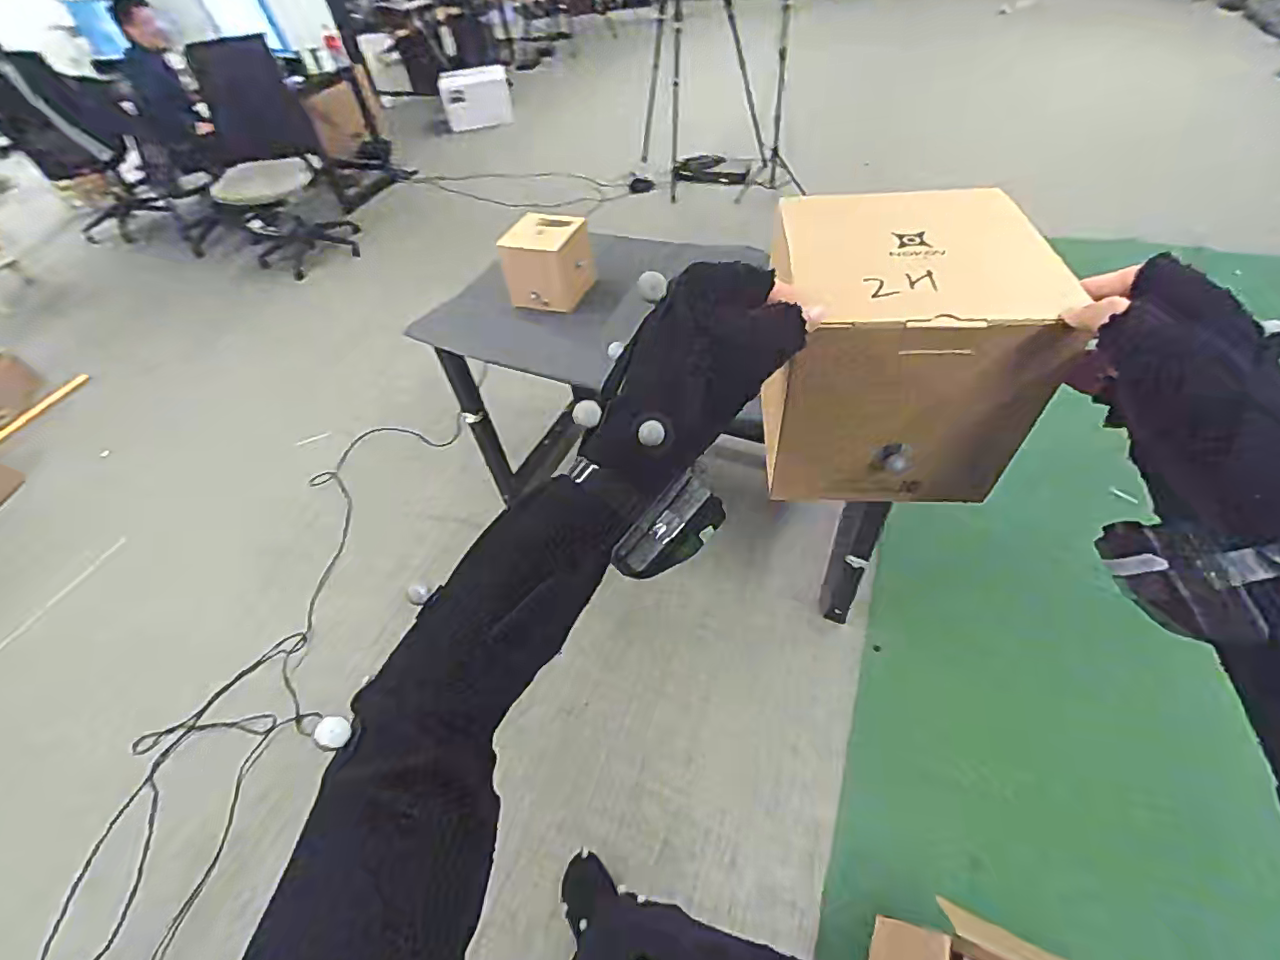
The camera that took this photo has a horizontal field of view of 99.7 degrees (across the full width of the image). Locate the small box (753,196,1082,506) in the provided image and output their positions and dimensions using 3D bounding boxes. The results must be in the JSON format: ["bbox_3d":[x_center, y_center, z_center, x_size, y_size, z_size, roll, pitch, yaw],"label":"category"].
[{"bbox_3d":[0.181,-0.101,0.426,0.168,0.176,0.179,1,50,7],"label":"small box"}]
